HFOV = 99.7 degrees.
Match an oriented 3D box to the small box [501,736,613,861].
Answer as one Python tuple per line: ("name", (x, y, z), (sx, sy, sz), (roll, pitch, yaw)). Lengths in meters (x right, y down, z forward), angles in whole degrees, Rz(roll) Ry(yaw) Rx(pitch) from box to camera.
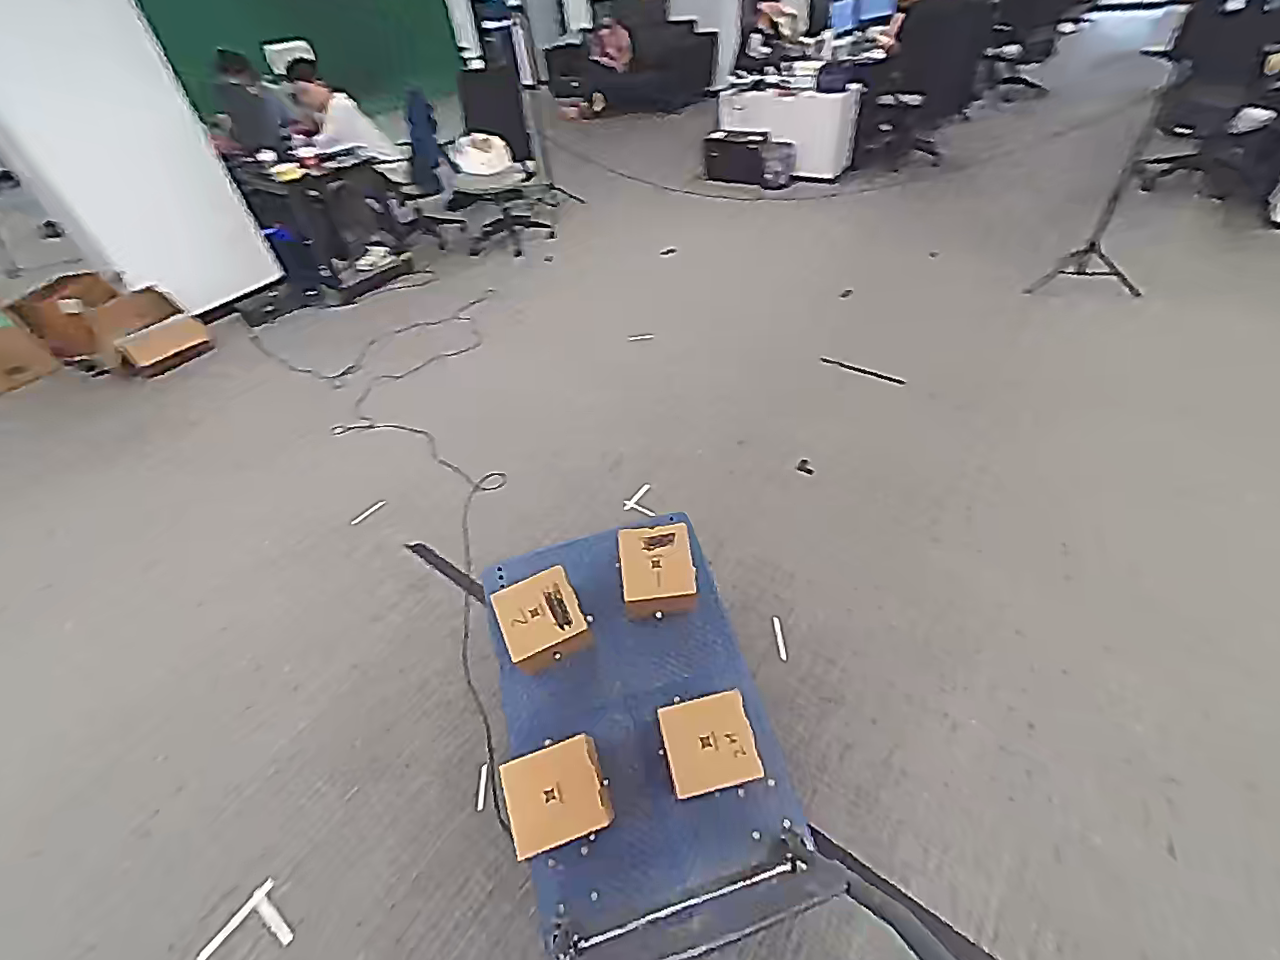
("small box", (-0.162, 0.641, 1.096), (0.179, 0.176, 0.168), (-18, 62, -10))

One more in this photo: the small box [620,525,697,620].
("small box", (0.039, 0.228, 1.317), (0.168, 0.176, 0.179), (-6, 62, -2))

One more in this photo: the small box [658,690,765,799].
("small box", (0.142, 0.556, 1.134), (0.179, 0.176, 0.168), (-12, 62, -5))
